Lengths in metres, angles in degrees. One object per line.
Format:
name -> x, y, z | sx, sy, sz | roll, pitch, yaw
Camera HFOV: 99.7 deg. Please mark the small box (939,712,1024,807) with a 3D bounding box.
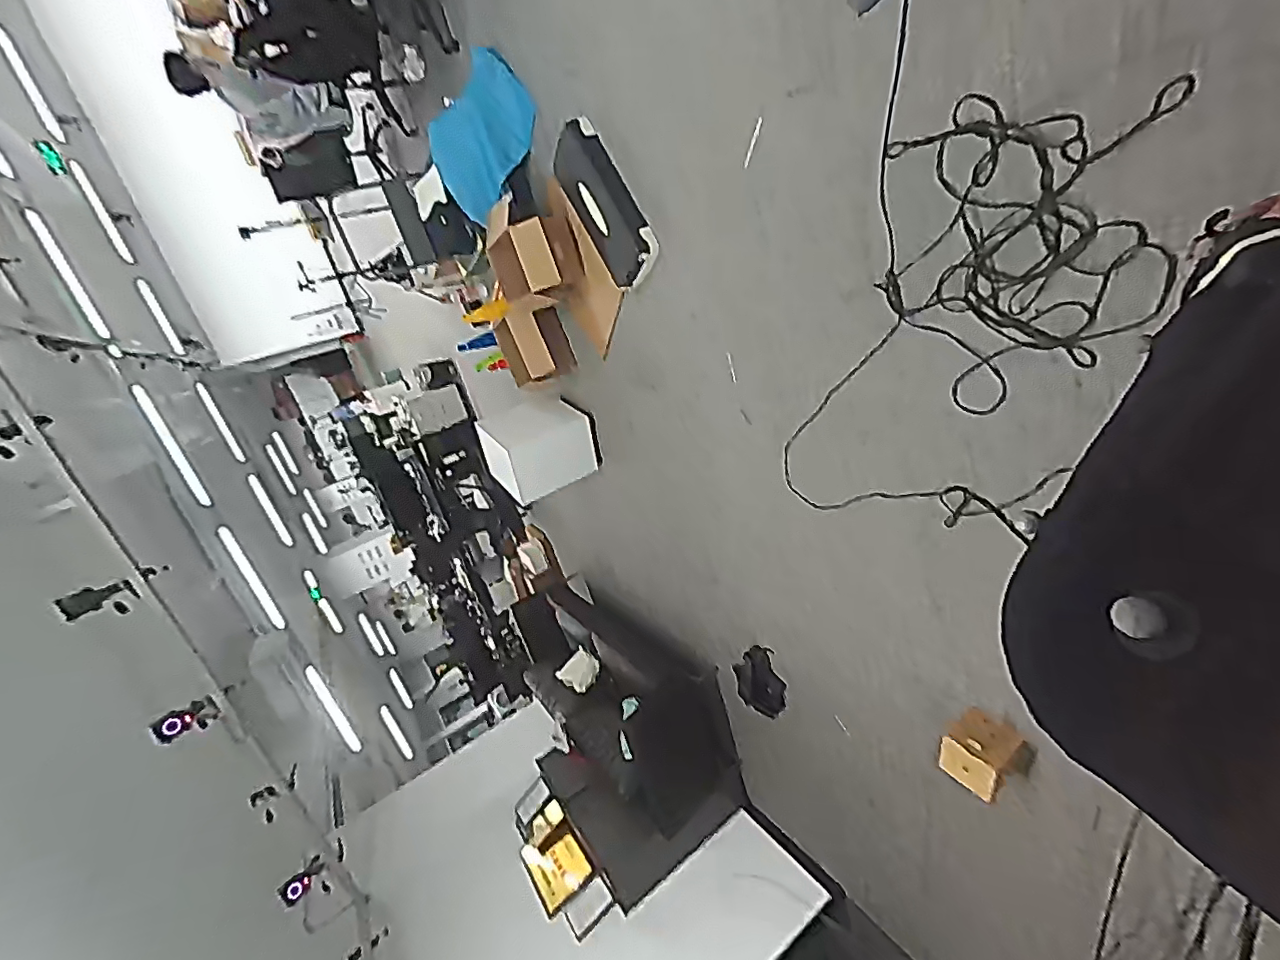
small box -> 1.105, 0.901, 1.752 | 0.168, 0.176, 0.179 | 31, 139, 50
